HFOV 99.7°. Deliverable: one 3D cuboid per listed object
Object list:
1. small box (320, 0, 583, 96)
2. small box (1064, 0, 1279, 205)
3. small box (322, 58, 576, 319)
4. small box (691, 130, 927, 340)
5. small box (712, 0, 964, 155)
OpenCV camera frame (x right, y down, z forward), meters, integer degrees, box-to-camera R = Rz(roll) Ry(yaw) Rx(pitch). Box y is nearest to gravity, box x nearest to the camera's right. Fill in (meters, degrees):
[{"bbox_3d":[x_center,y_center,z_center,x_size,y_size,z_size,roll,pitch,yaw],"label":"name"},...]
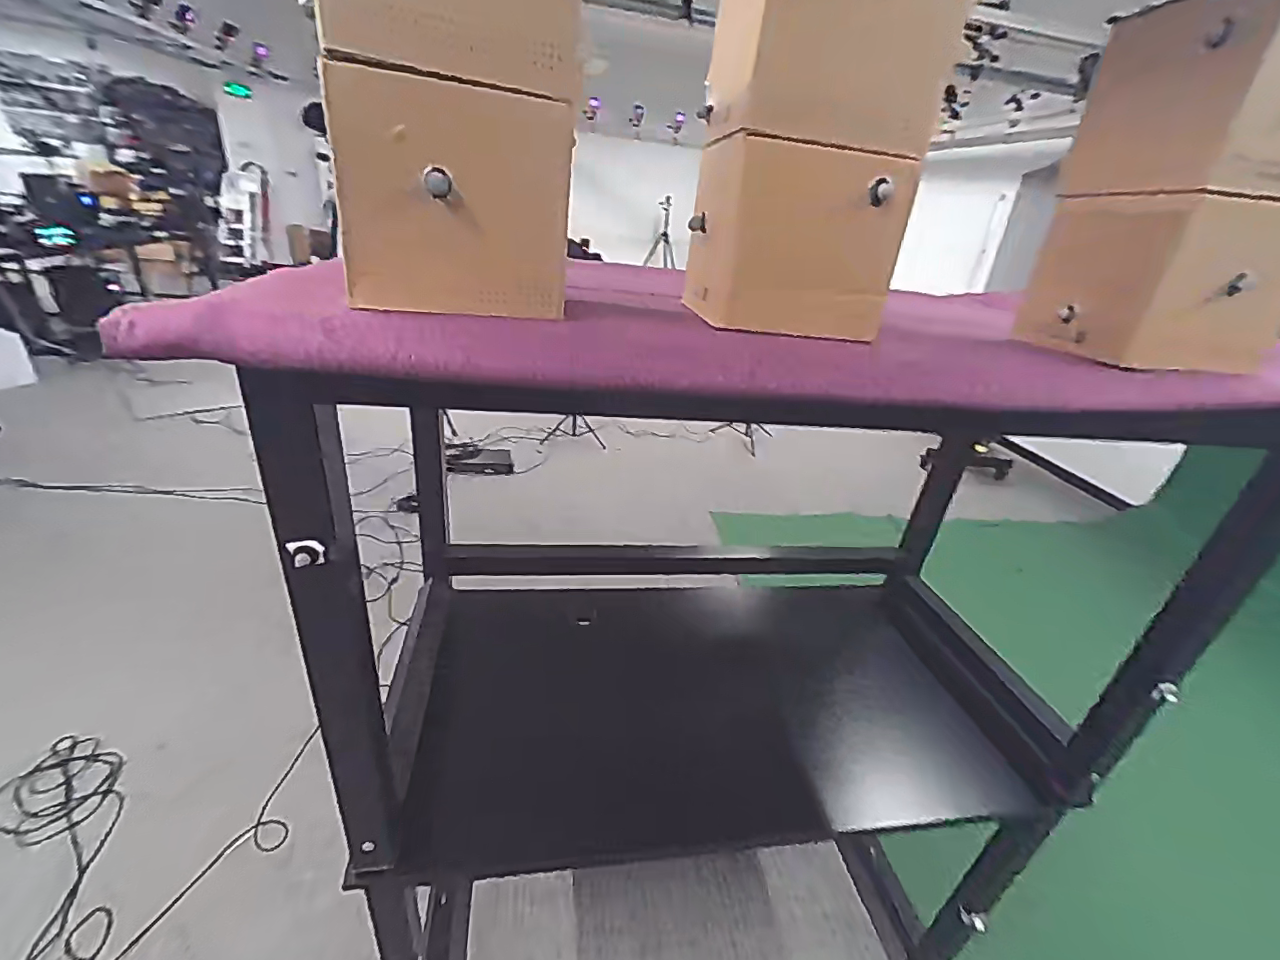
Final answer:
[{"bbox_3d":[-0.142,-0.391,0.411,0.179,0.176,0.168,-5,29,-22],"label":"small box"},{"bbox_3d":[0.590,-0.372,0.540,0.168,0.176,0.179,1,26,-9],"label":"small box"},{"bbox_3d":[-0.160,-0.247,0.485,0.179,0.176,0.168,-3,30,-19],"label":"small box"},{"bbox_3d":[0.156,-0.250,0.573,0.179,0.176,0.168,3,26,-10],"label":"small box"},{"bbox_3d":[0.173,-0.399,0.506,0.179,0.176,0.168,3,26,-10],"label":"small box"}]
